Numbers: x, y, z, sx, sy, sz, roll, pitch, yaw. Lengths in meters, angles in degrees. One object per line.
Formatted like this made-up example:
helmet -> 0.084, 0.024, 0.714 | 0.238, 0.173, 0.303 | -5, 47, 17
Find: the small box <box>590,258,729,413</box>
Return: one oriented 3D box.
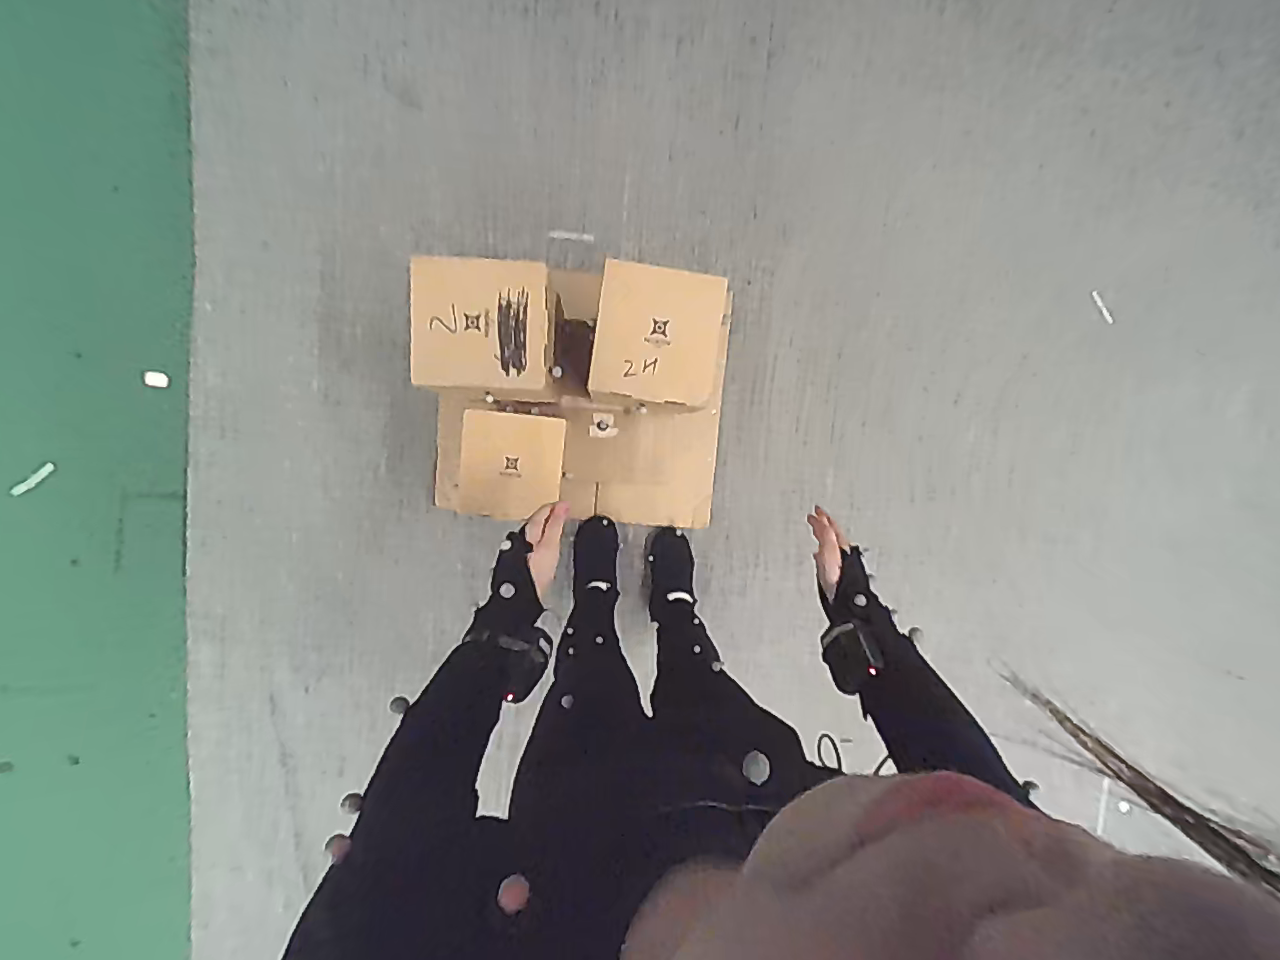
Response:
small box -> 0.022, -0.199, 0.792 | 0.168, 0.176, 0.179 | 8, 94, -3
